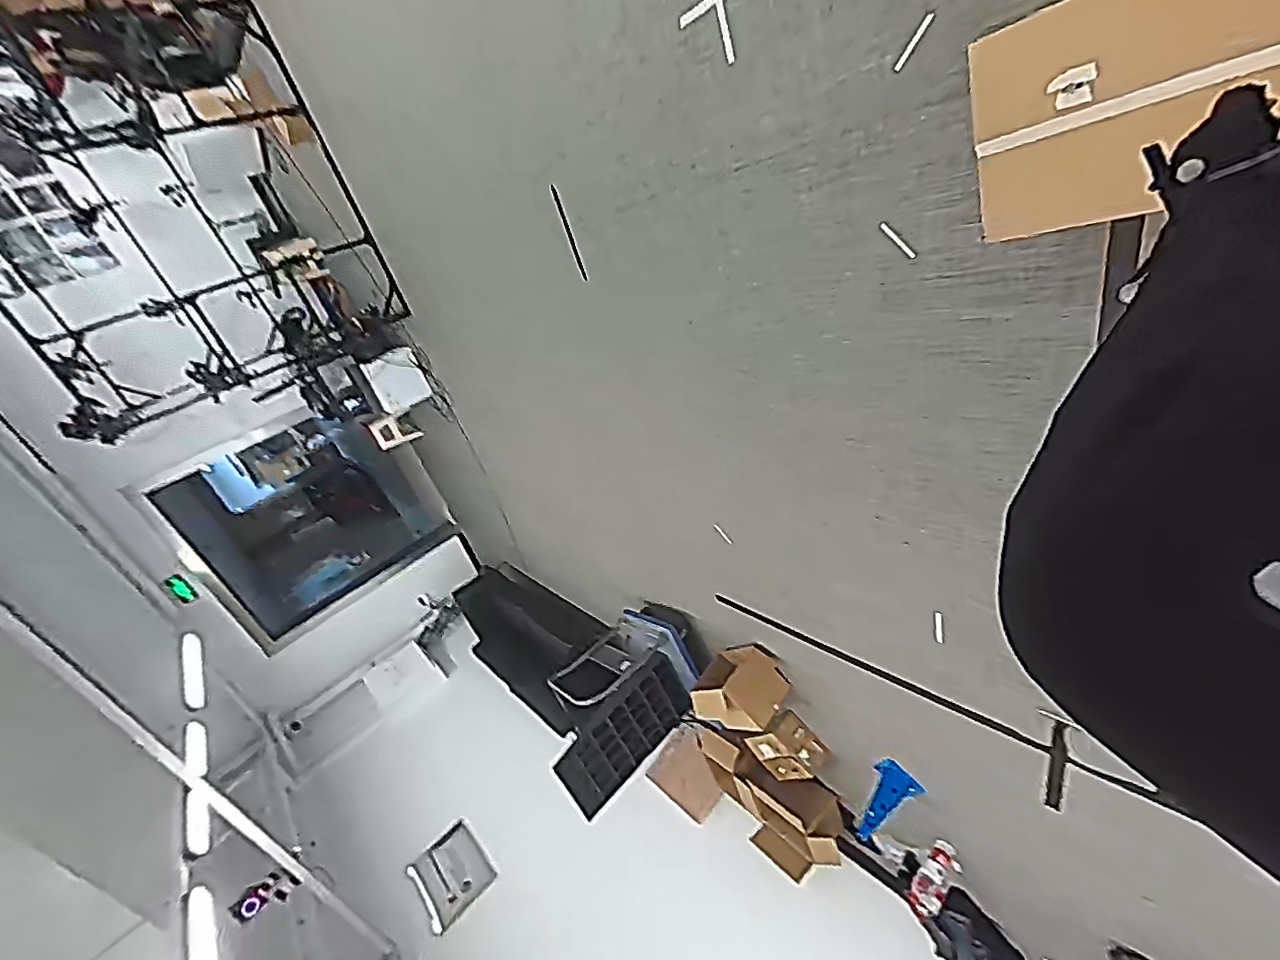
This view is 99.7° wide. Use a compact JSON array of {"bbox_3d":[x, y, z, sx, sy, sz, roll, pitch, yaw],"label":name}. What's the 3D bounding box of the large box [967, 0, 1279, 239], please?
[{"bbox_3d":[0.799,-0.616,0.831,0.408,0.320,0.320,13,131,52],"label":"large box"}]
